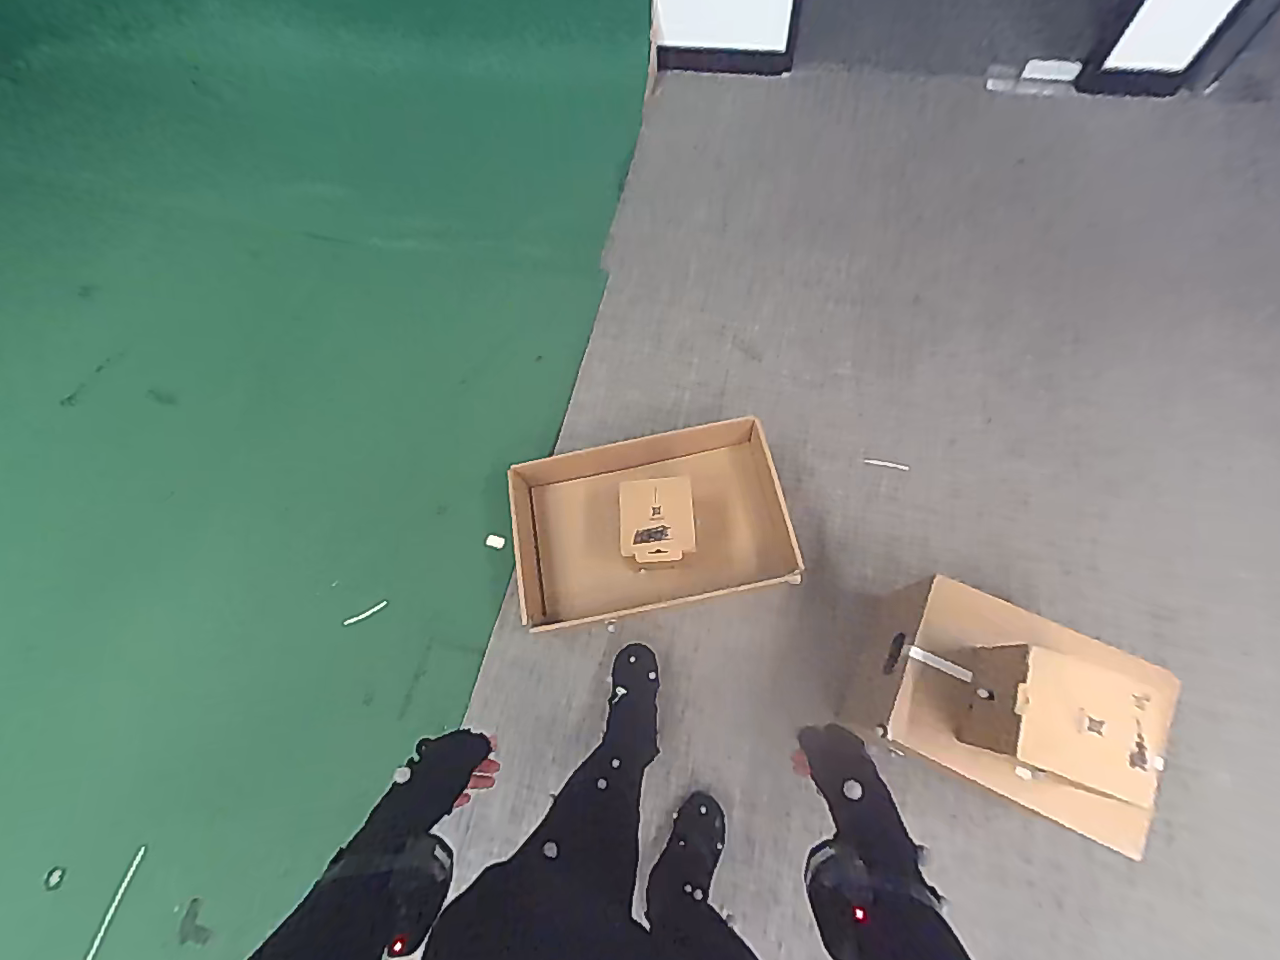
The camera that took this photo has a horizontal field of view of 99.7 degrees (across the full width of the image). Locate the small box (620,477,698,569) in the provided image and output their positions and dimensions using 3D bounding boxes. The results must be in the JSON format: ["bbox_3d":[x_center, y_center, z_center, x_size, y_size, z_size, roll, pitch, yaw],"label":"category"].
[{"bbox_3d":[0.047,0.108,1.269,0.168,0.176,0.179,-5,68,5],"label":"small box"}]

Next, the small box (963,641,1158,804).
[{"bbox_3d":[0.632,0.363,0.833,0.179,0.176,0.168,18,74,12],"label":"small box"}]
